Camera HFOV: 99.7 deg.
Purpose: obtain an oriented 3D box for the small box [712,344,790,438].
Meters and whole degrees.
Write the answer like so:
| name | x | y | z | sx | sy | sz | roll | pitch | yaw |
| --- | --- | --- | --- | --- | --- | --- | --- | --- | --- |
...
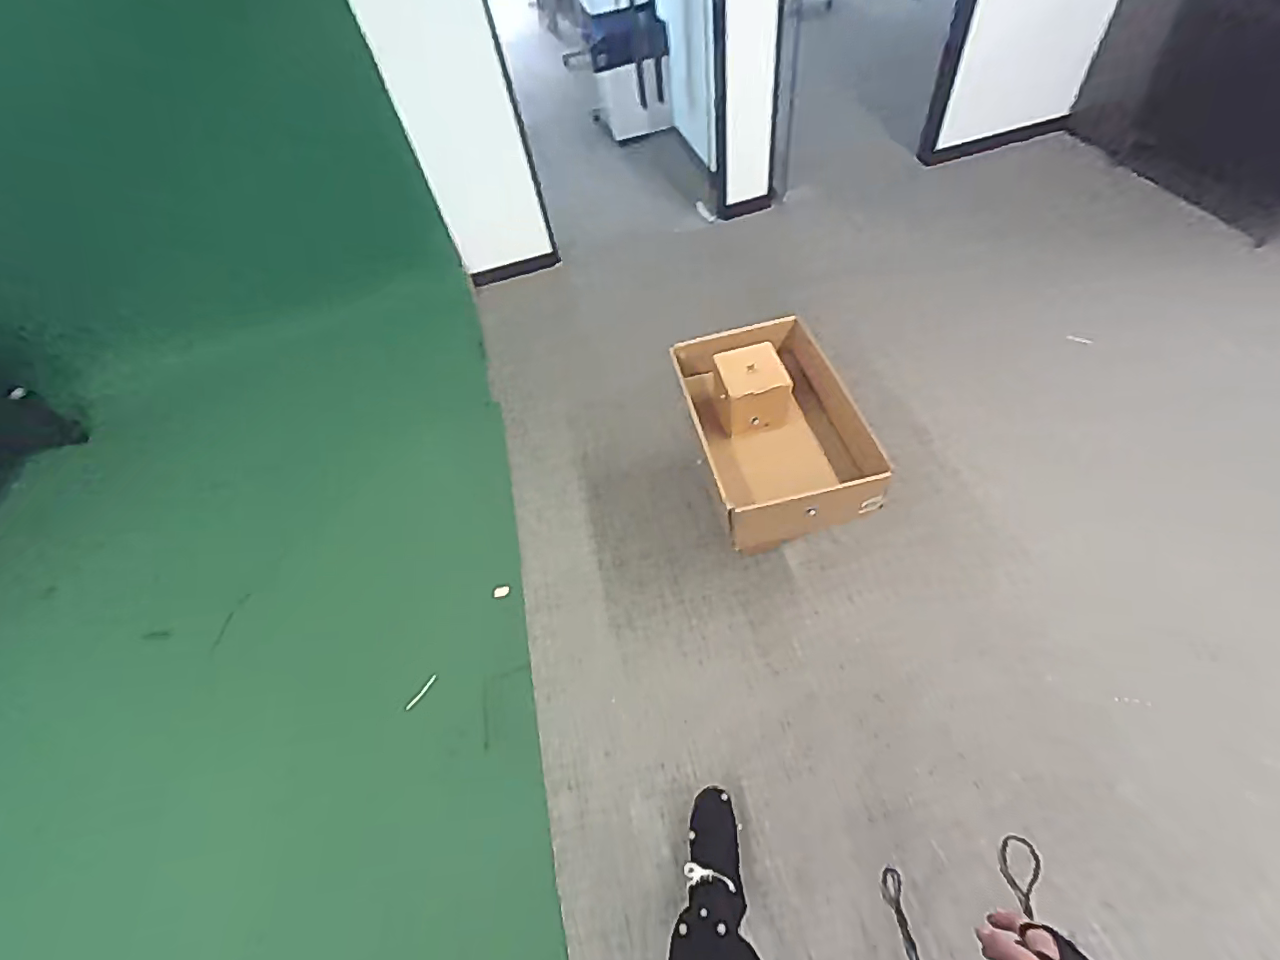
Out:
| name | x | y | z | sx | sy | sz | roll | pitch | yaw |
| --- | --- | --- | --- | --- | --- | --- | --- | --- | --- |
| small box | 0.302 | -0.246 | 1.511 | 0.168 | 0.176 | 0.179 | -14 | 54 | -1 |
